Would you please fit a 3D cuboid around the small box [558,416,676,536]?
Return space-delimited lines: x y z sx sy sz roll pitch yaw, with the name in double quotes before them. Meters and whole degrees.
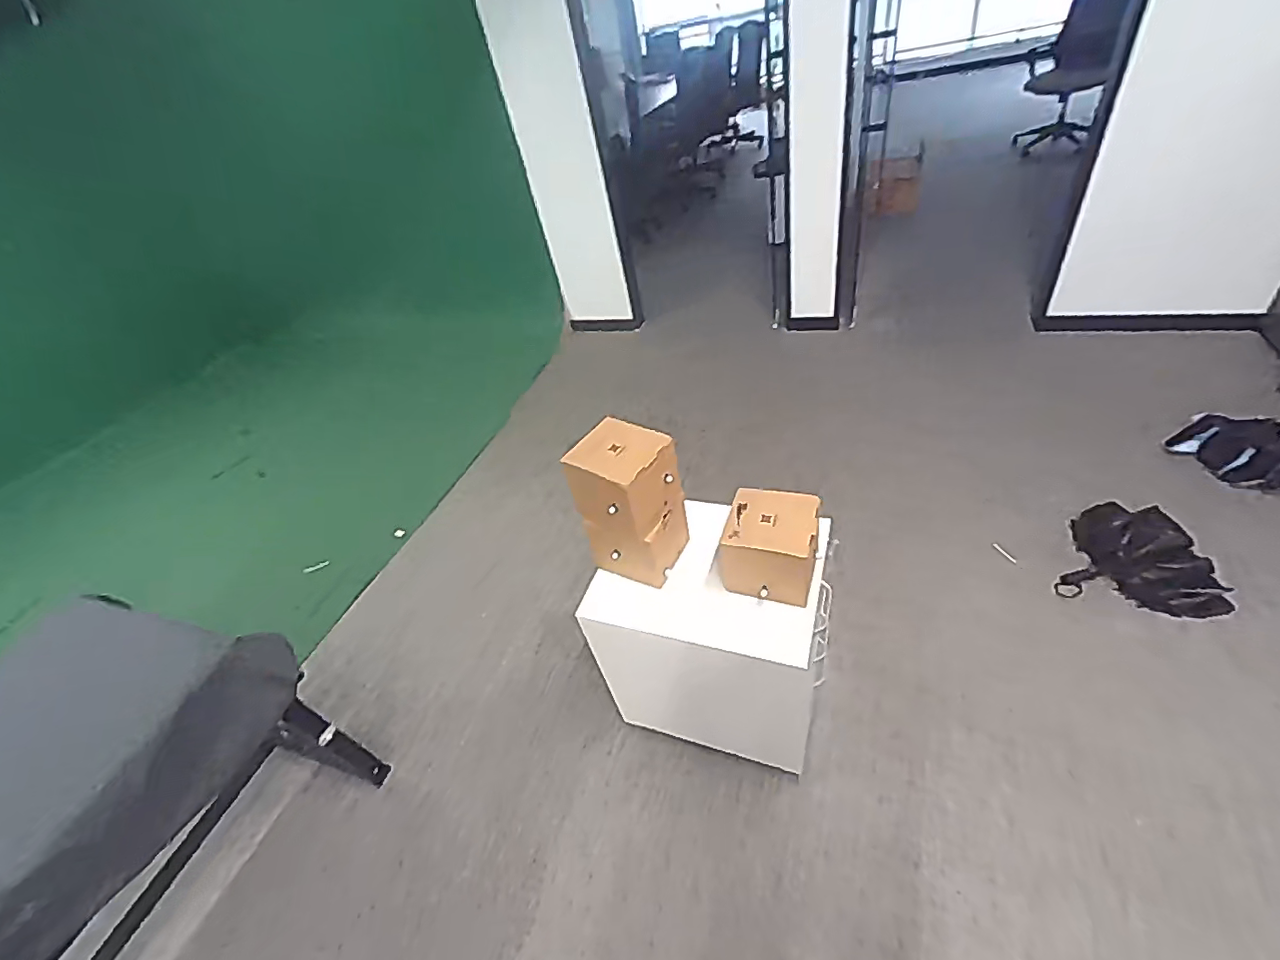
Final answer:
"small box" -0.040 -0.007 1.139 0.179 0.176 0.168 19 48 31

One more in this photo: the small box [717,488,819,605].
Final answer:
"small box" 0.272 0.143 1.146 0.179 0.176 0.168 9 45 22

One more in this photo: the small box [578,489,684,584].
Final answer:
"small box" -0.012 0.114 1.243 0.179 0.176 0.168 14 47 27
